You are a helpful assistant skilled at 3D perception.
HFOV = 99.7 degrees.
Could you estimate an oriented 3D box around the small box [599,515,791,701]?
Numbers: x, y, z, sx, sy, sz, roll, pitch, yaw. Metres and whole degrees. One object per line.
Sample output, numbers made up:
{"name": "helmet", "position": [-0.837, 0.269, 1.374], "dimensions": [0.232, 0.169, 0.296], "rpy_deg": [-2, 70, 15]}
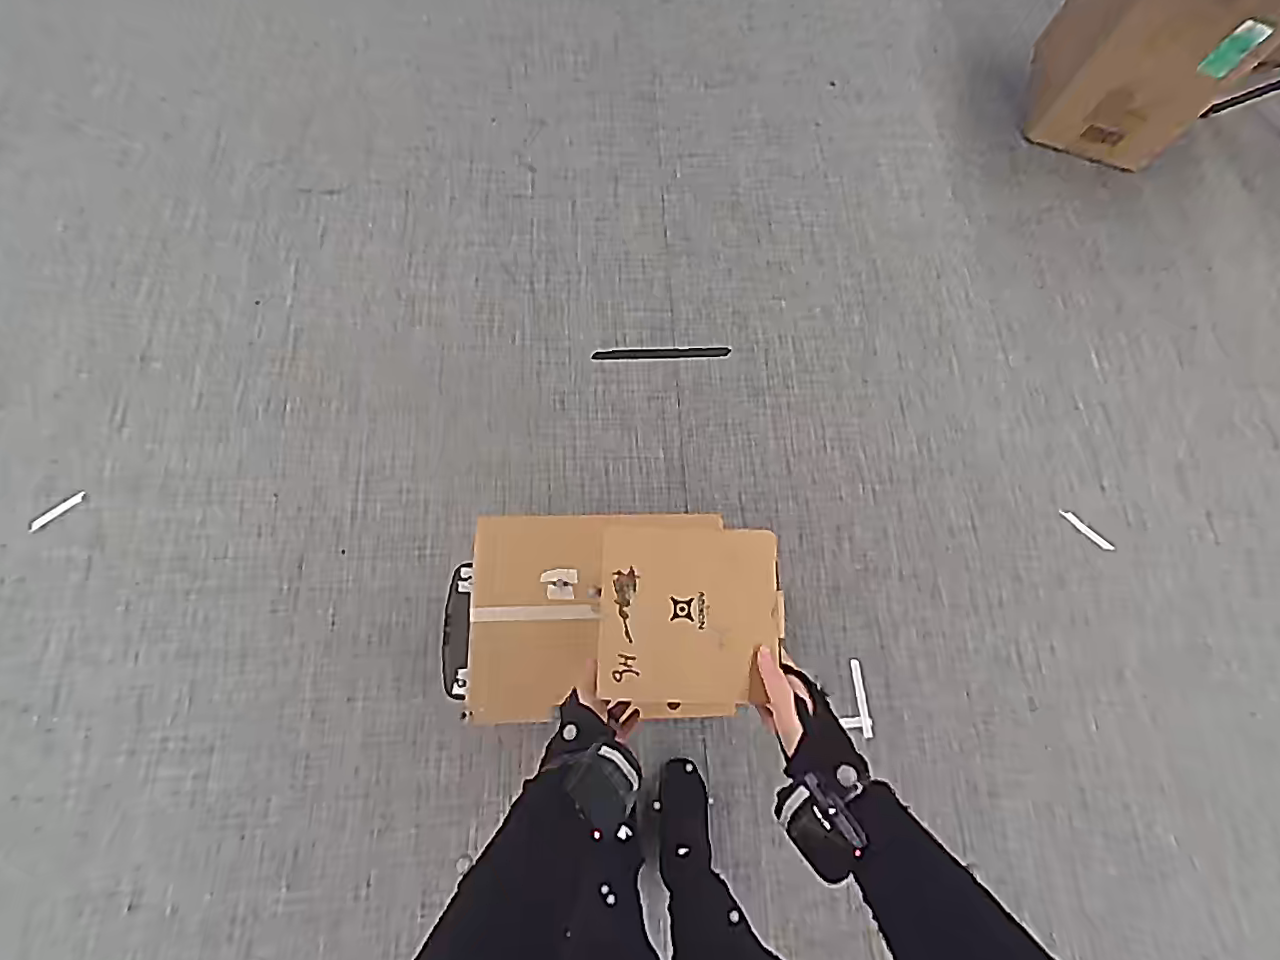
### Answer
{"name": "small box", "position": [0.048, 0.141, 0.586], "dimensions": [0.179, 0.176, 0.168], "rpy_deg": [3, 72, -3]}

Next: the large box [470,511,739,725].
{"name": "large box", "position": [-0.060, 0.245, 0.977], "dimensions": [0.408, 0.320, 0.320], "rpy_deg": [-1, 72, -3]}

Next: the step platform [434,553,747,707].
{"name": "step platform", "position": [-0.089, 0.331, 1.199], "dimensions": [0.684, 0.204, 0.286], "rpy_deg": [4, 73, -1]}
